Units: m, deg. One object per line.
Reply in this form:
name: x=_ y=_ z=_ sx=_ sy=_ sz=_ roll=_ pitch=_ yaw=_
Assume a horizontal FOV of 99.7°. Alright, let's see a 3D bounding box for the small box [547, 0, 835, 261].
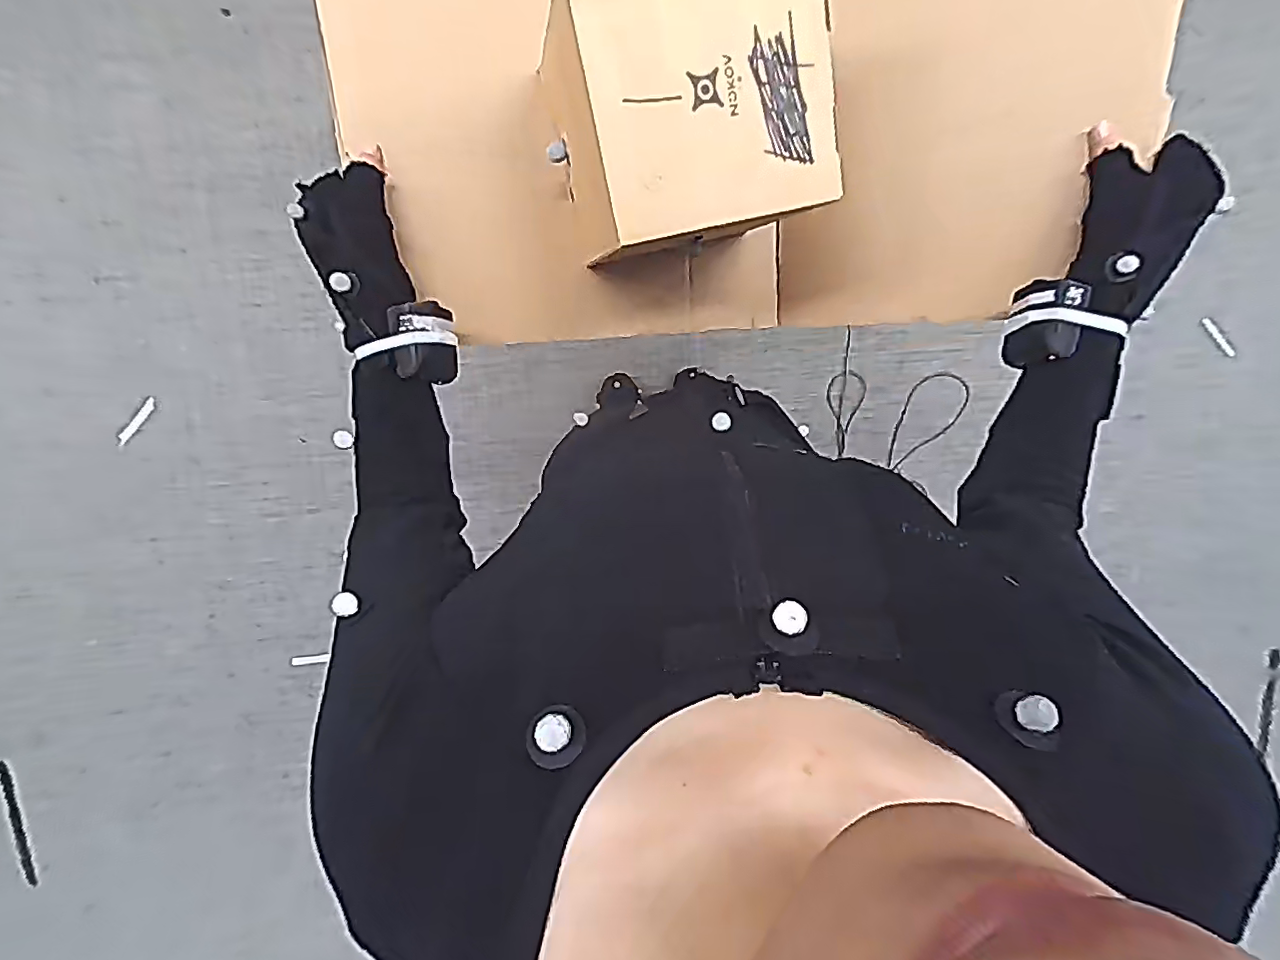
small box: x=0.032 y=-0.287 z=0.444 sx=0.179 sy=0.176 sz=0.168 roll=-16 pitch=110 yaw=-9
